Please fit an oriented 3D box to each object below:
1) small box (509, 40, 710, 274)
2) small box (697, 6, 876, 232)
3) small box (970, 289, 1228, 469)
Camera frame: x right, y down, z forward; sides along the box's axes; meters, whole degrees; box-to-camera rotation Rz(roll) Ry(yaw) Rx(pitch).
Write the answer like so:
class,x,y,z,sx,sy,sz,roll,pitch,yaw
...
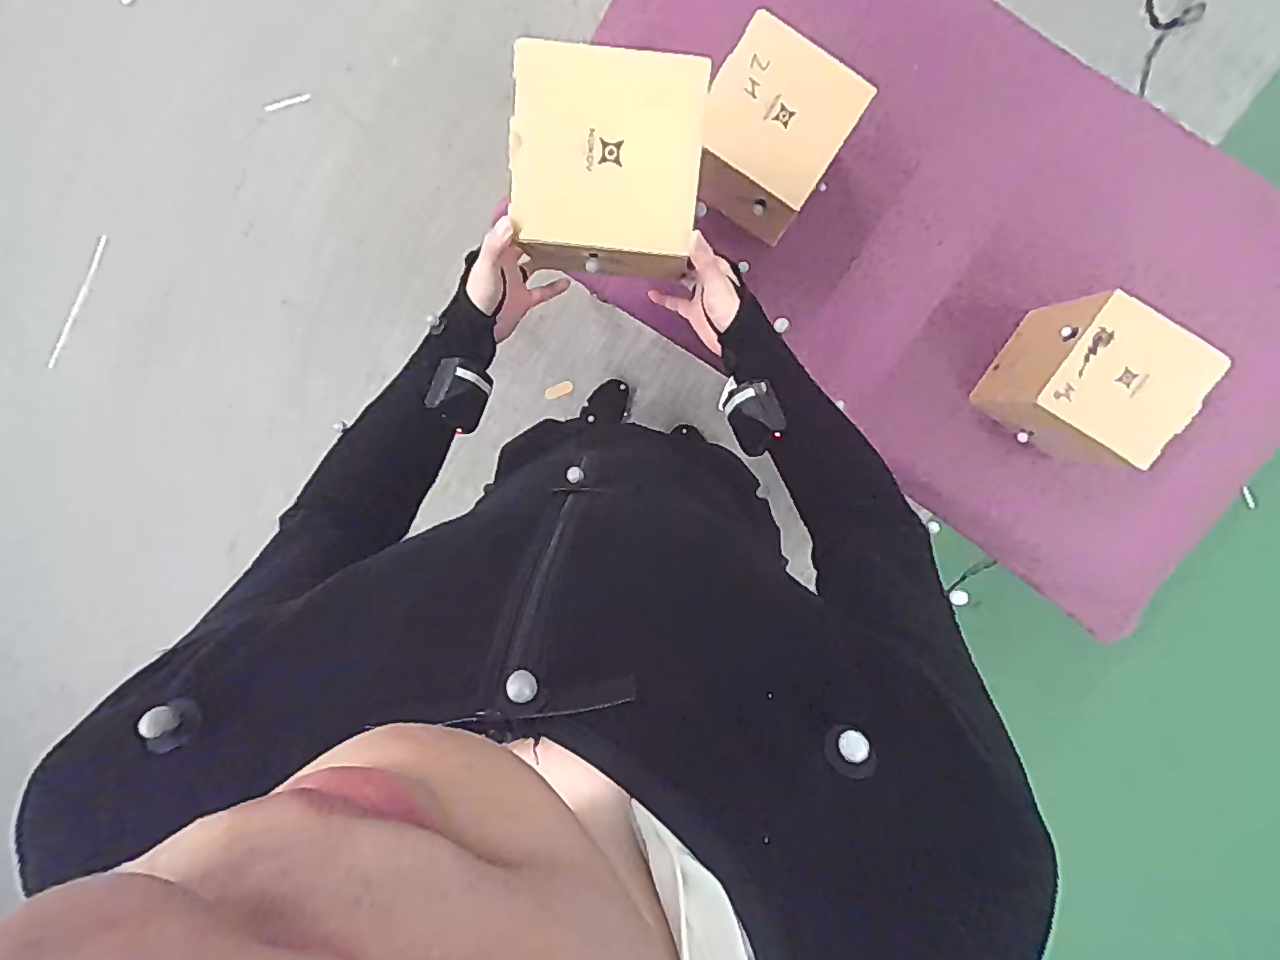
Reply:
class,x,y,z,sx,sy,sz,roll,pitch,yaw
small box,-0.029,-0.319,0.571,0.179,0.176,0.168,5,104,1
small box,0.177,-0.467,0.739,0.179,0.176,0.168,34,100,-2
small box,0.623,-0.139,0.761,0.179,0.176,0.168,32,100,-2
